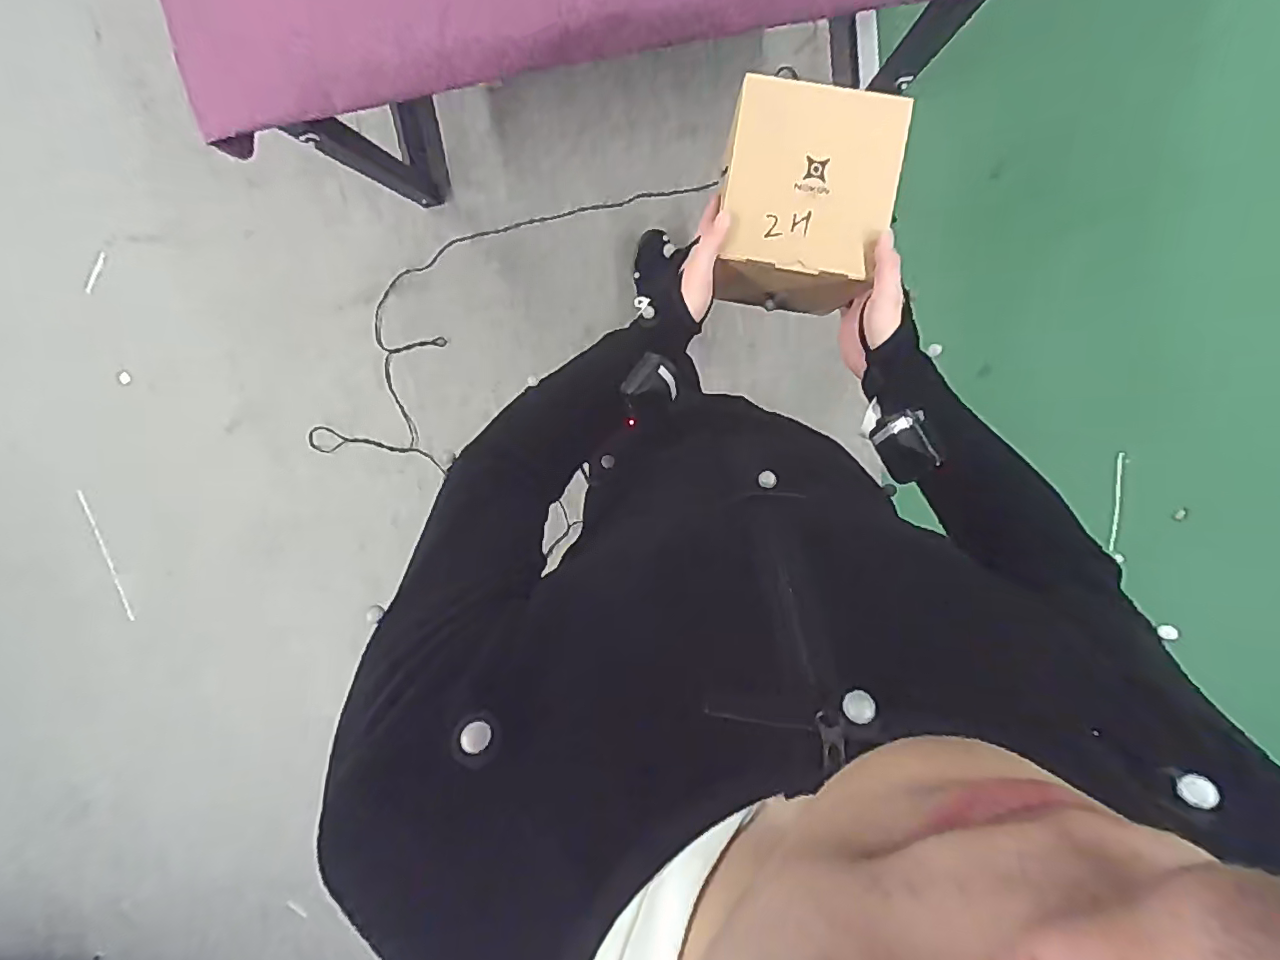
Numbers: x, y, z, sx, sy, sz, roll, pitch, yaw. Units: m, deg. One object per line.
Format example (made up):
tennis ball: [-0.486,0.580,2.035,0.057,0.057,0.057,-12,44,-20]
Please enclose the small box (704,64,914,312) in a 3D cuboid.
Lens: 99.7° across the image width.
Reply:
small box: [0.168,-0.303,0.598,0.168,0.176,0.179,10,95,2]
